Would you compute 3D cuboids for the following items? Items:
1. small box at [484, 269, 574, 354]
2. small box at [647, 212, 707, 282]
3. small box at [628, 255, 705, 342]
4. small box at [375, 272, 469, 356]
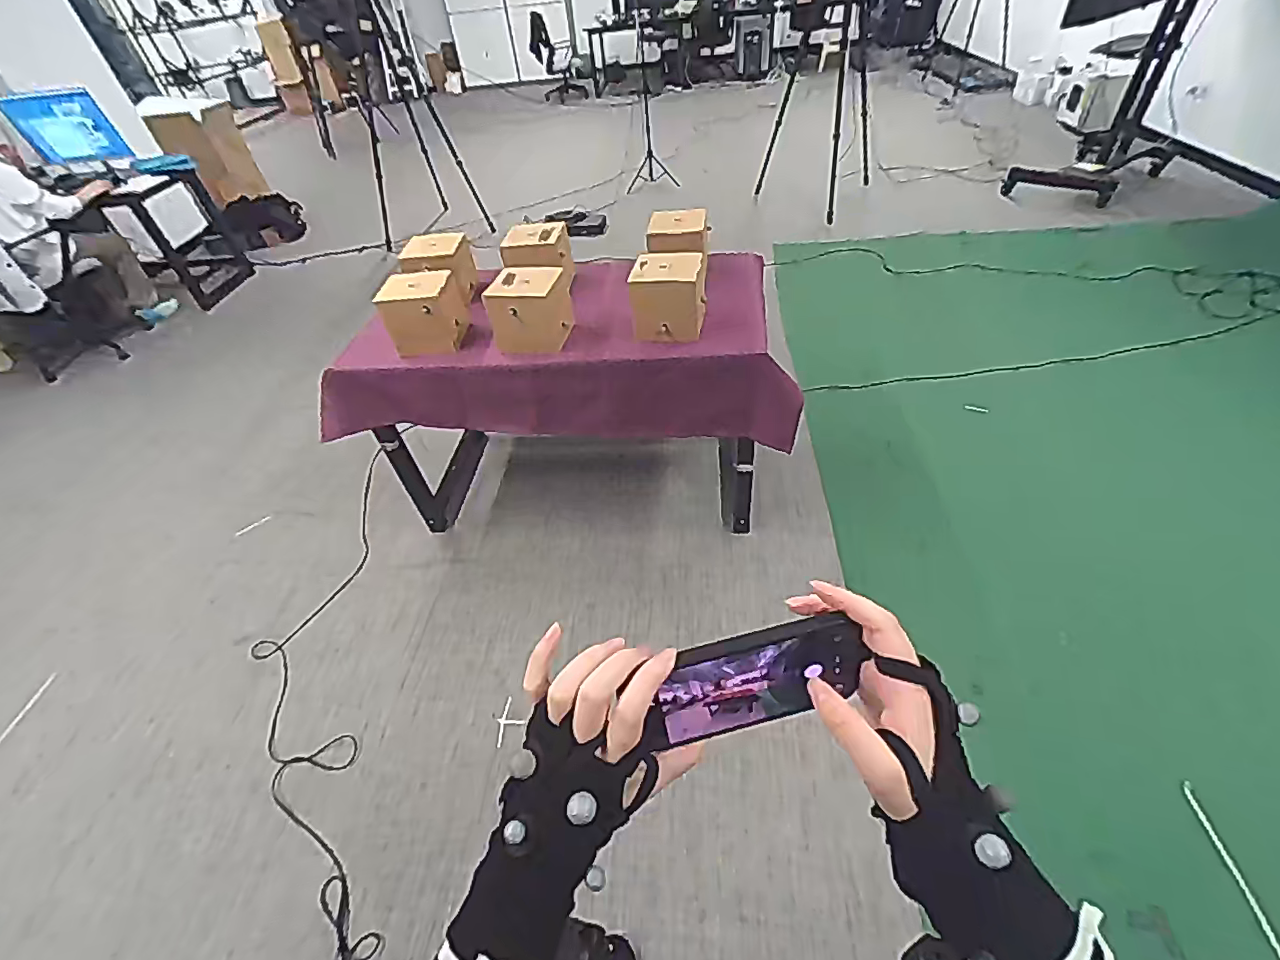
[{"bbox_3d":[-0.292,-0.455,1.467,0.179,0.176,0.168,4,46,11],"label":"small box"},{"bbox_3d":[0.119,-0.704,1.662,0.168,0.176,0.179,2,46,10],"label":"small box"},{"bbox_3d":[0.077,-0.482,1.445,0.179,0.176,0.168,5,45,12],"label":"small box"},{"bbox_3d":[-0.602,-0.462,1.517,0.179,0.176,0.168,-4,44,2],"label":"small box"}]
